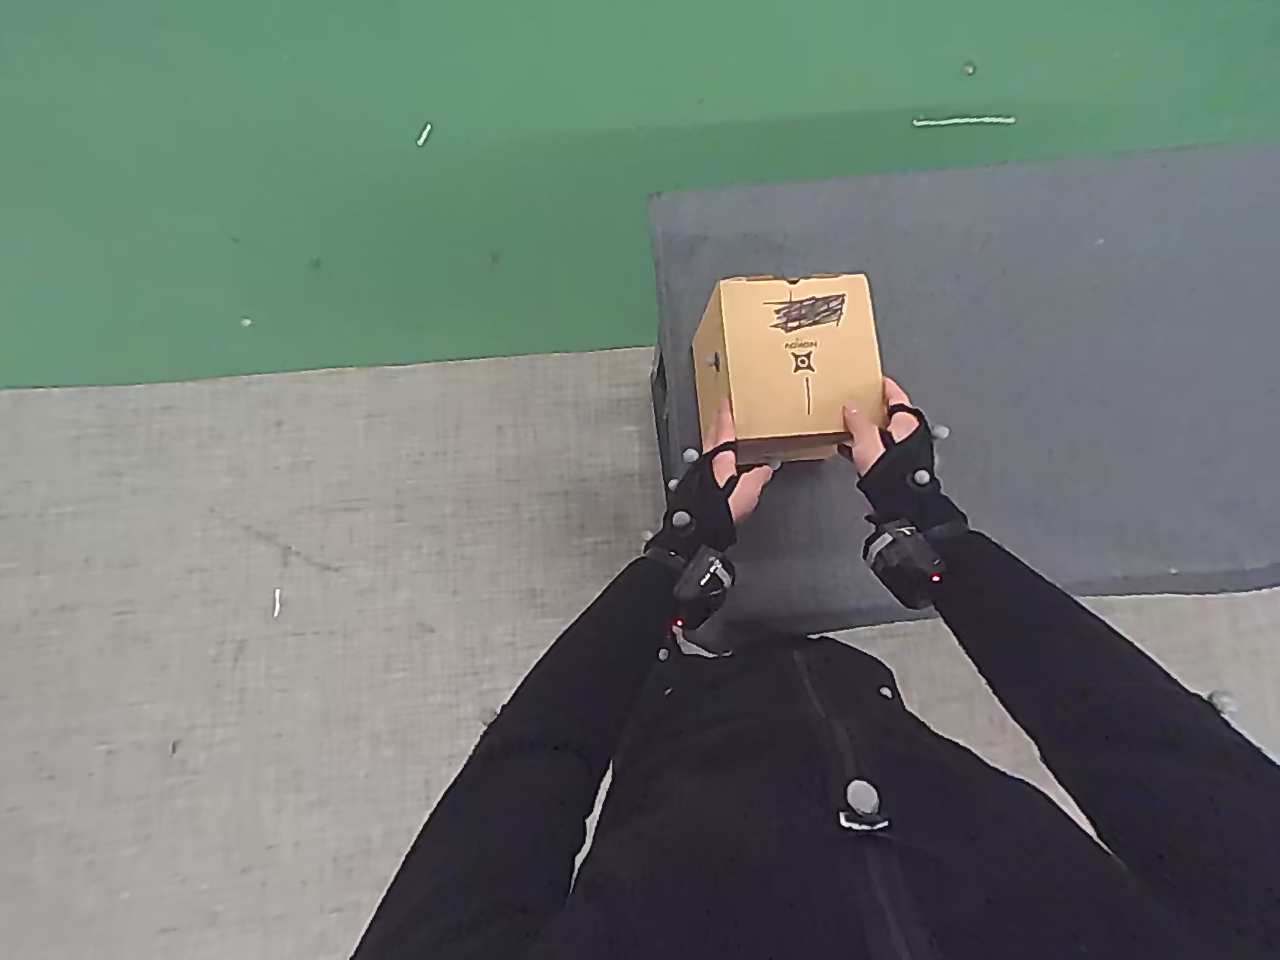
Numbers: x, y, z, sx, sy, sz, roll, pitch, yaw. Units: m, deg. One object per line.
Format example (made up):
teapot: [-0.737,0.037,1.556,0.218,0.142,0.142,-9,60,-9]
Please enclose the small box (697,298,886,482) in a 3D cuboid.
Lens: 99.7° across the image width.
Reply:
small box: [0.168,-0.100,0.657,0.168,0.176,0.179,-4,82,-5]
